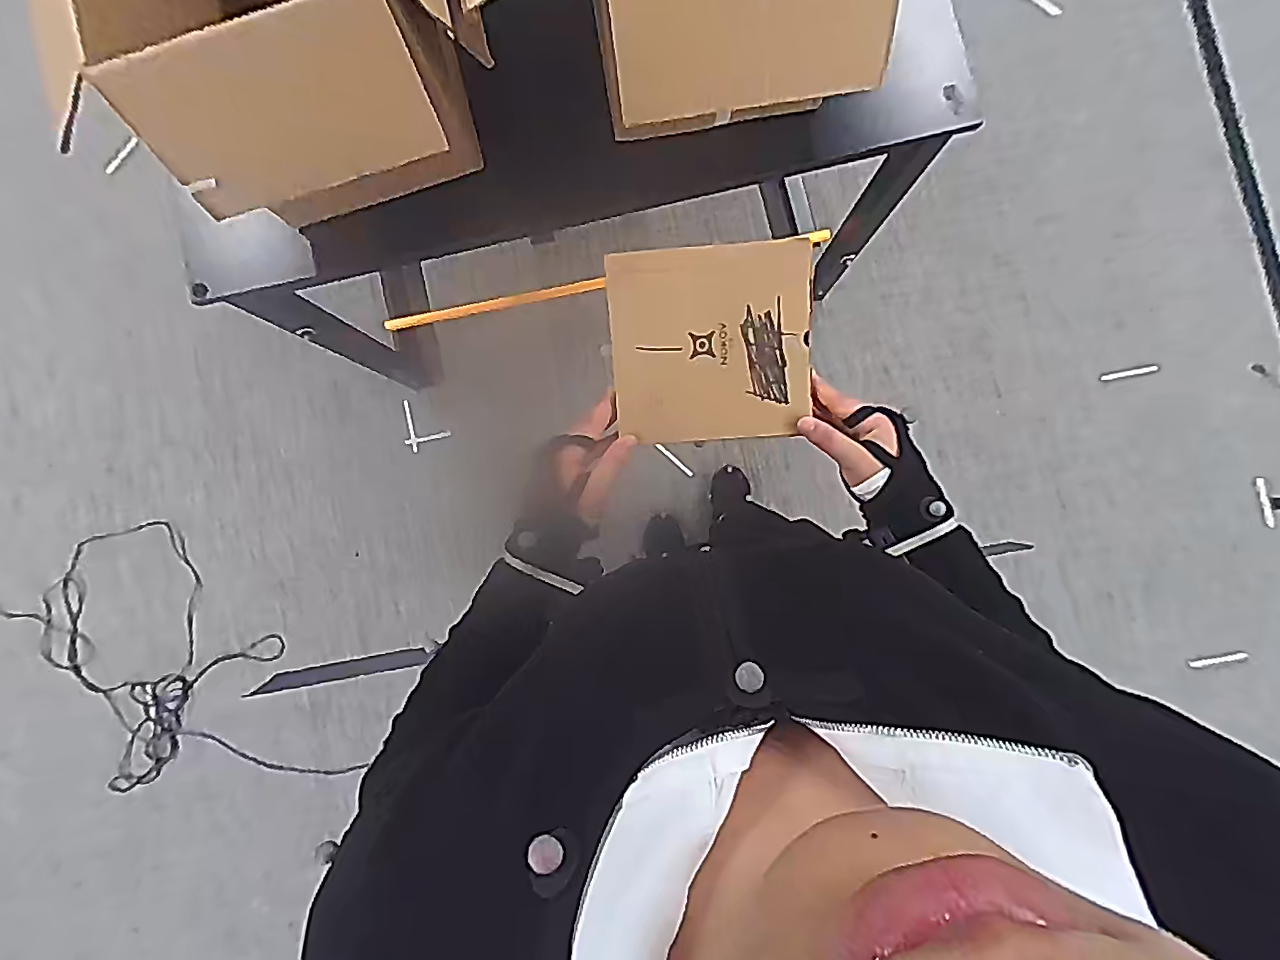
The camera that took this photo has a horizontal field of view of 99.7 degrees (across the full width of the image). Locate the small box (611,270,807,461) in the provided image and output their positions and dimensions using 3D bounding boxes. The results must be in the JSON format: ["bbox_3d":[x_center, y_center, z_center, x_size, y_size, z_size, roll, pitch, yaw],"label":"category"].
[{"bbox_3d":[0.064,-0.118,0.567,0.179,0.176,0.168,-3,101,2],"label":"small box"}]
